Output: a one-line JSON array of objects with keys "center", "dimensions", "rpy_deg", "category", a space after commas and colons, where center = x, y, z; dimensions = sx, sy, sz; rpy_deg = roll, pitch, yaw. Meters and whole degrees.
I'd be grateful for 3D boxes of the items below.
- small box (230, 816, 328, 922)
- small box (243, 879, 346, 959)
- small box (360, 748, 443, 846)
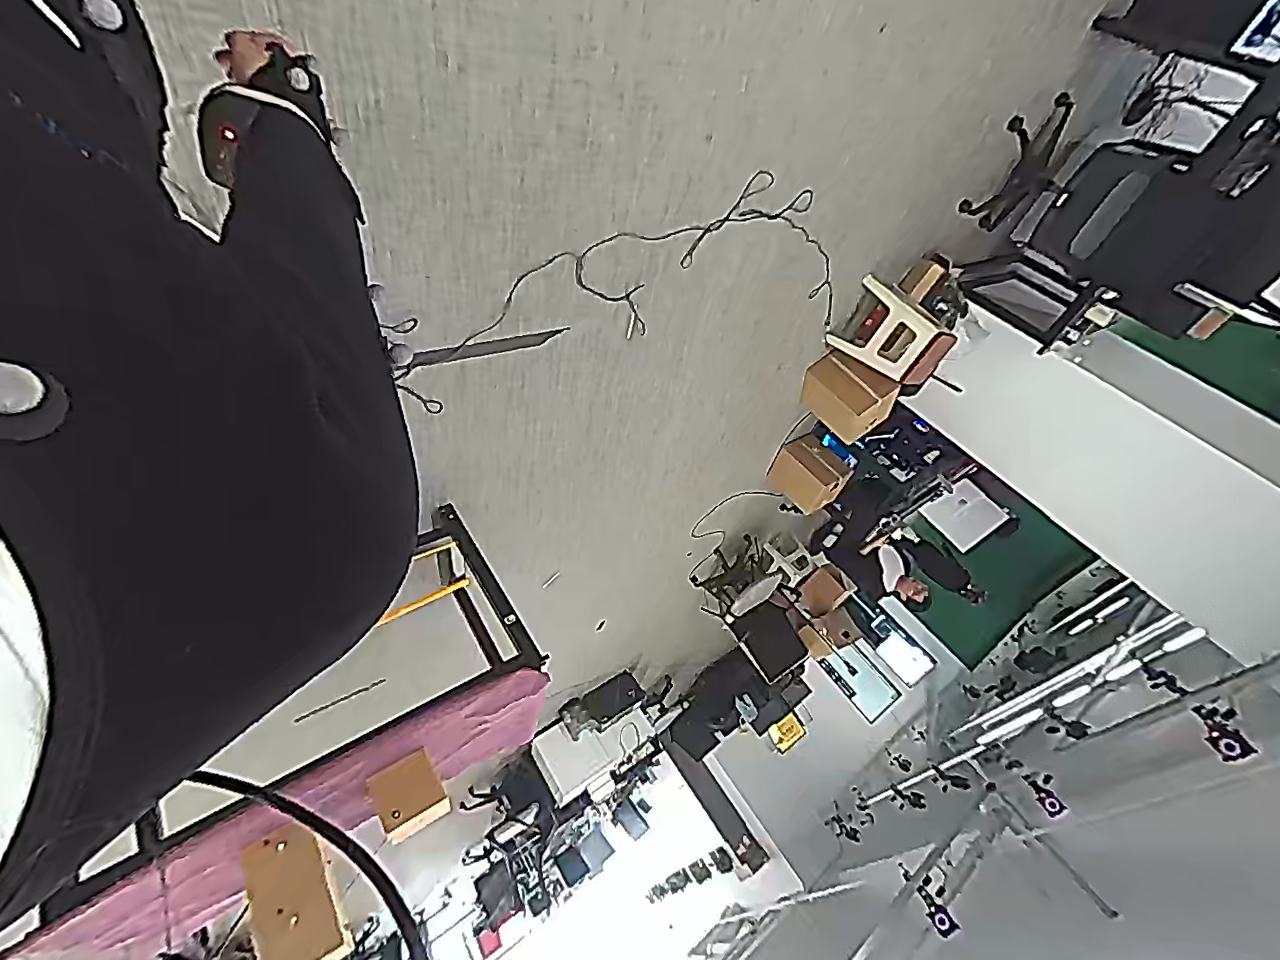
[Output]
[{"center": [-0.944, 1.024, 1.421], "dimensions": [0.168, 0.176, 0.179], "rpy_deg": [-20, 146, -34], "category": "small box"}, {"center": [-0.853, 1.136, 1.341], "dimensions": [0.168, 0.176, 0.179], "rpy_deg": [-21, 146, -34], "category": "small box"}, {"center": [-0.698, 0.926, 1.589], "dimensions": [0.179, 0.176, 0.168], "rpy_deg": [-20, 146, -32], "category": "small box"}]
